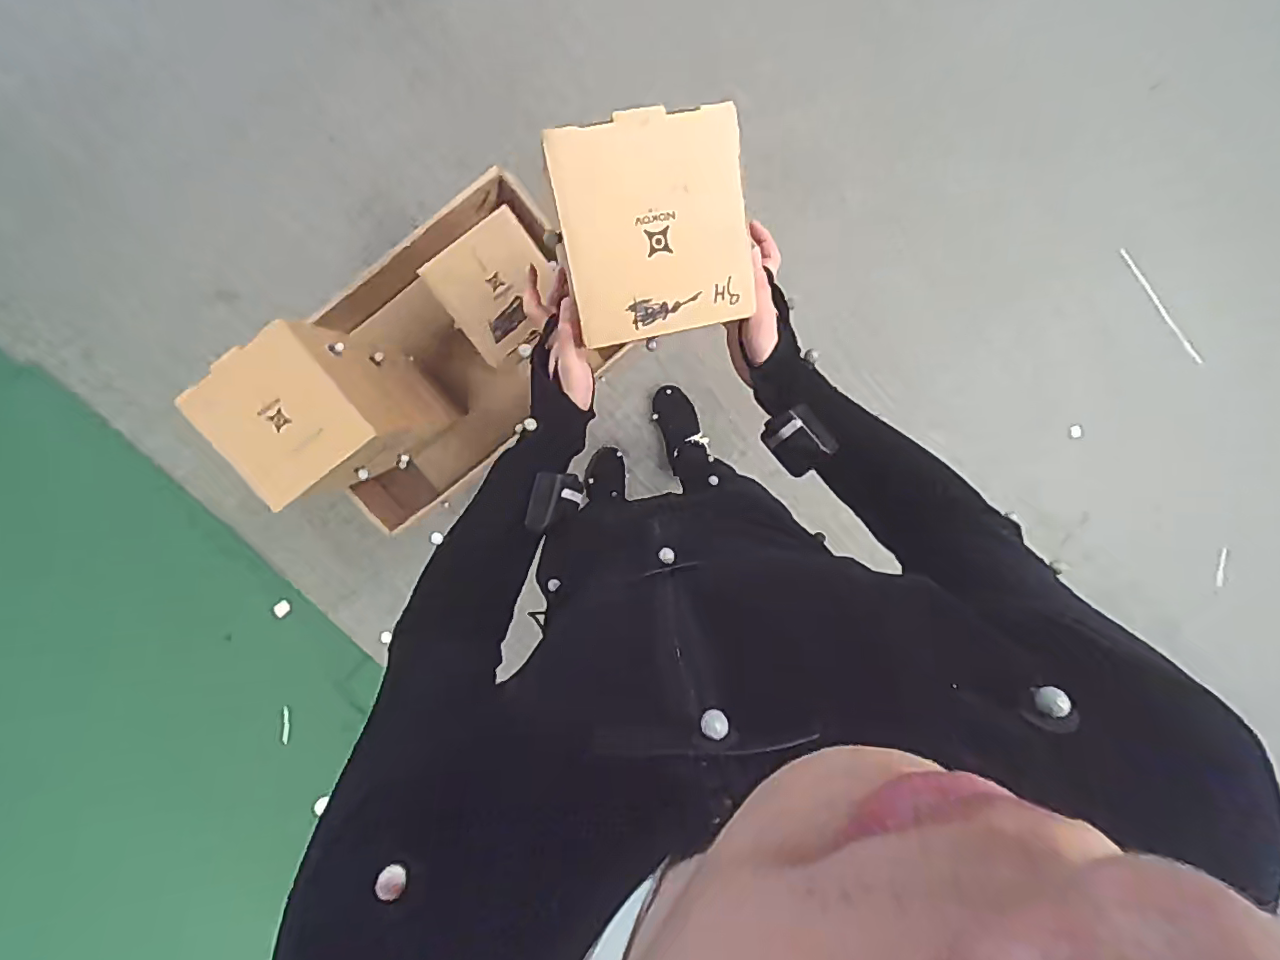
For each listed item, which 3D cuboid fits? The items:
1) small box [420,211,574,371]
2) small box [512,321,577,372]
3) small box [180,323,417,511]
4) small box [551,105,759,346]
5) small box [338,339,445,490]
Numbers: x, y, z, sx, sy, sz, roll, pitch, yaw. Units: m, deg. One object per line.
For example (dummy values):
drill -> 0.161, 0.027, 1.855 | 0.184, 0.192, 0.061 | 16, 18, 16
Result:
small box -> -0.219, -0.297, 0.891 | 0.168, 0.176, 0.179 | -37, 100, 1
small box -> -0.236, -0.327, 1.052 | 0.168, 0.176, 0.179 | -38, 100, 1
small box -> -0.445, -0.084, 0.738 | 0.168, 0.176, 0.179 | -37, 99, 2
small box -> 0.006, -0.236, 0.538 | 0.168, 0.176, 0.179 | -11, 108, -5
small box -> -0.459, -0.108, 0.899 | 0.168, 0.176, 0.179 | -36, 99, 2
